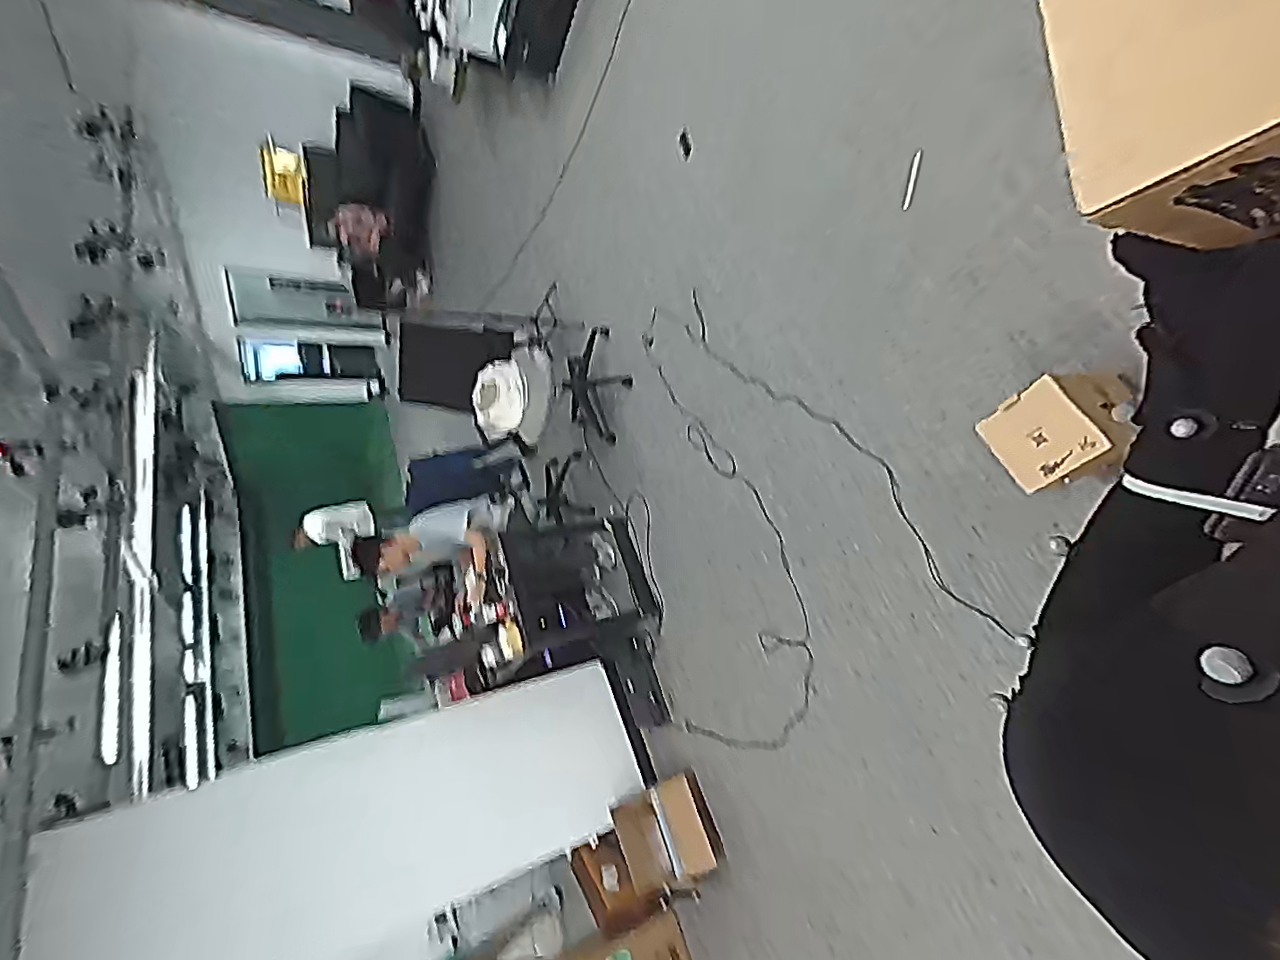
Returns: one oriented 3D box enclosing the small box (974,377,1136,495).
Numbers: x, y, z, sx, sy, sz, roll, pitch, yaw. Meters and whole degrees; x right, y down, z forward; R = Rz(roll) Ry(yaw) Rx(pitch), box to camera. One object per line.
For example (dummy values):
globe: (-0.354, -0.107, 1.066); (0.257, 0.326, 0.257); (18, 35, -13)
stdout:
small box: (0.837, -0.089, 1.097); (0.168, 0.176, 0.179); (-54, 51, 47)

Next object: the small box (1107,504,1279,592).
small box: (1.088, 0.161, 1.059); (0.179, 0.176, 0.168); (-48, 57, 49)

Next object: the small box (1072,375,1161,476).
small box: (0.974, -0.111, 1.186); (0.179, 0.176, 0.168); (-53, 53, 47)
